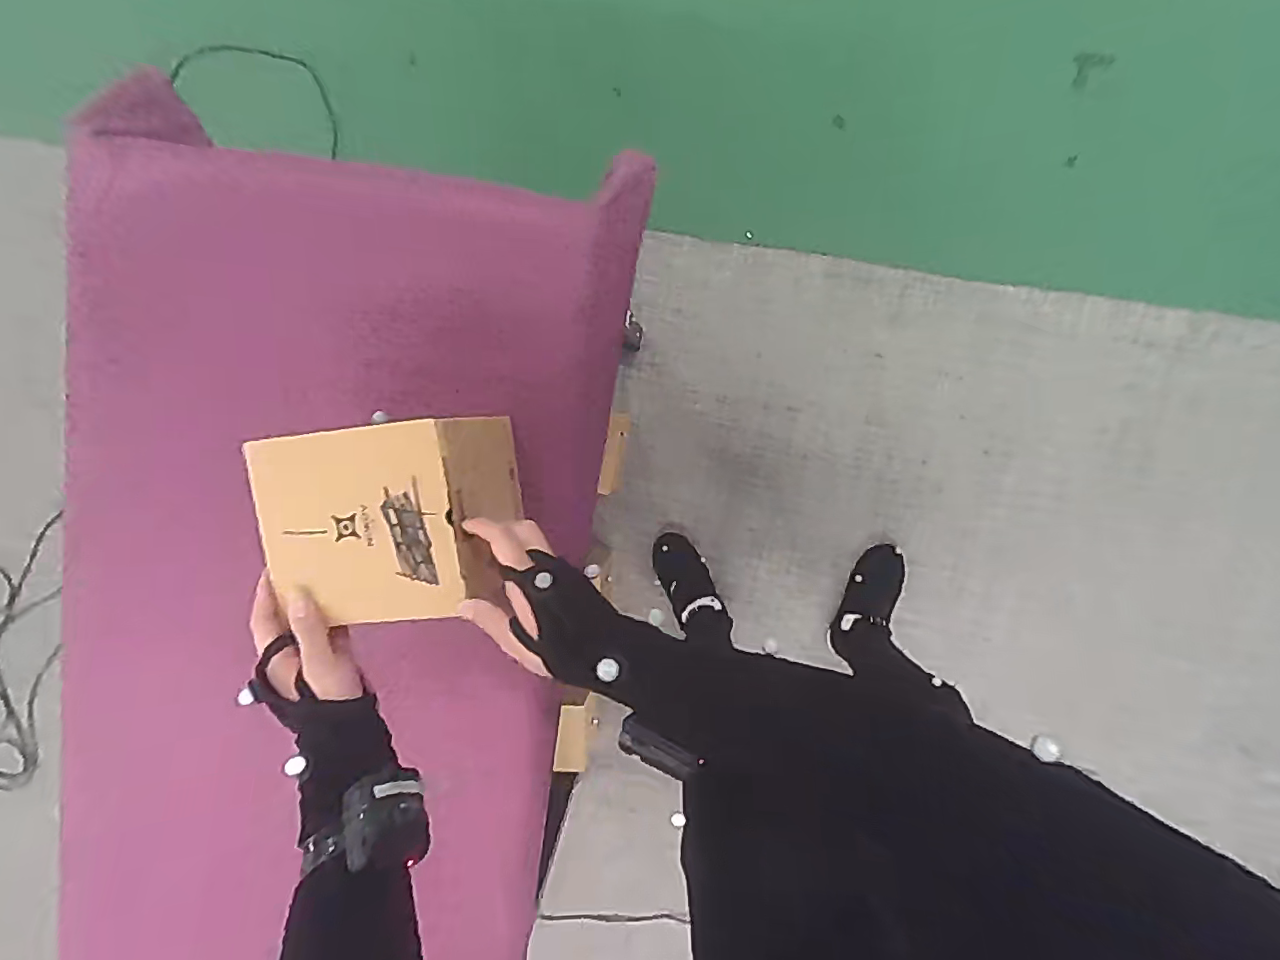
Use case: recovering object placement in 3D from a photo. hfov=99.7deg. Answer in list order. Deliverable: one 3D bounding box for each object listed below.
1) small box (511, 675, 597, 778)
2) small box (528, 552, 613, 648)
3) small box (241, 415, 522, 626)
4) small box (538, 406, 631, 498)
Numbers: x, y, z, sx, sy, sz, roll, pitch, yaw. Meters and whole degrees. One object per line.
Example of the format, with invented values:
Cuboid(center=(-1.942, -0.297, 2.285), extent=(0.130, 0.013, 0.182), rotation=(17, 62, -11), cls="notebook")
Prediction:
Cuboid(center=(-0.200, 0.587, 1.304), extent=(0.179, 0.176, 0.168), rotation=(1, 96, 5), cls="small box")
Cuboid(center=(-0.158, 0.274, 1.270), extent=(0.168, 0.176, 0.179), rotation=(3, 97, 6), cls="small box")
Cuboid(center=(-0.223, 0.027, 0.517), extent=(0.179, 0.176, 0.168), rotation=(-6, 95, 8), cls="small box")
Cuboid(center=(-0.120, -0.067, 1.233), extent=(0.168, 0.176, 0.179), rotation=(10, 96, 5), cls="small box")
